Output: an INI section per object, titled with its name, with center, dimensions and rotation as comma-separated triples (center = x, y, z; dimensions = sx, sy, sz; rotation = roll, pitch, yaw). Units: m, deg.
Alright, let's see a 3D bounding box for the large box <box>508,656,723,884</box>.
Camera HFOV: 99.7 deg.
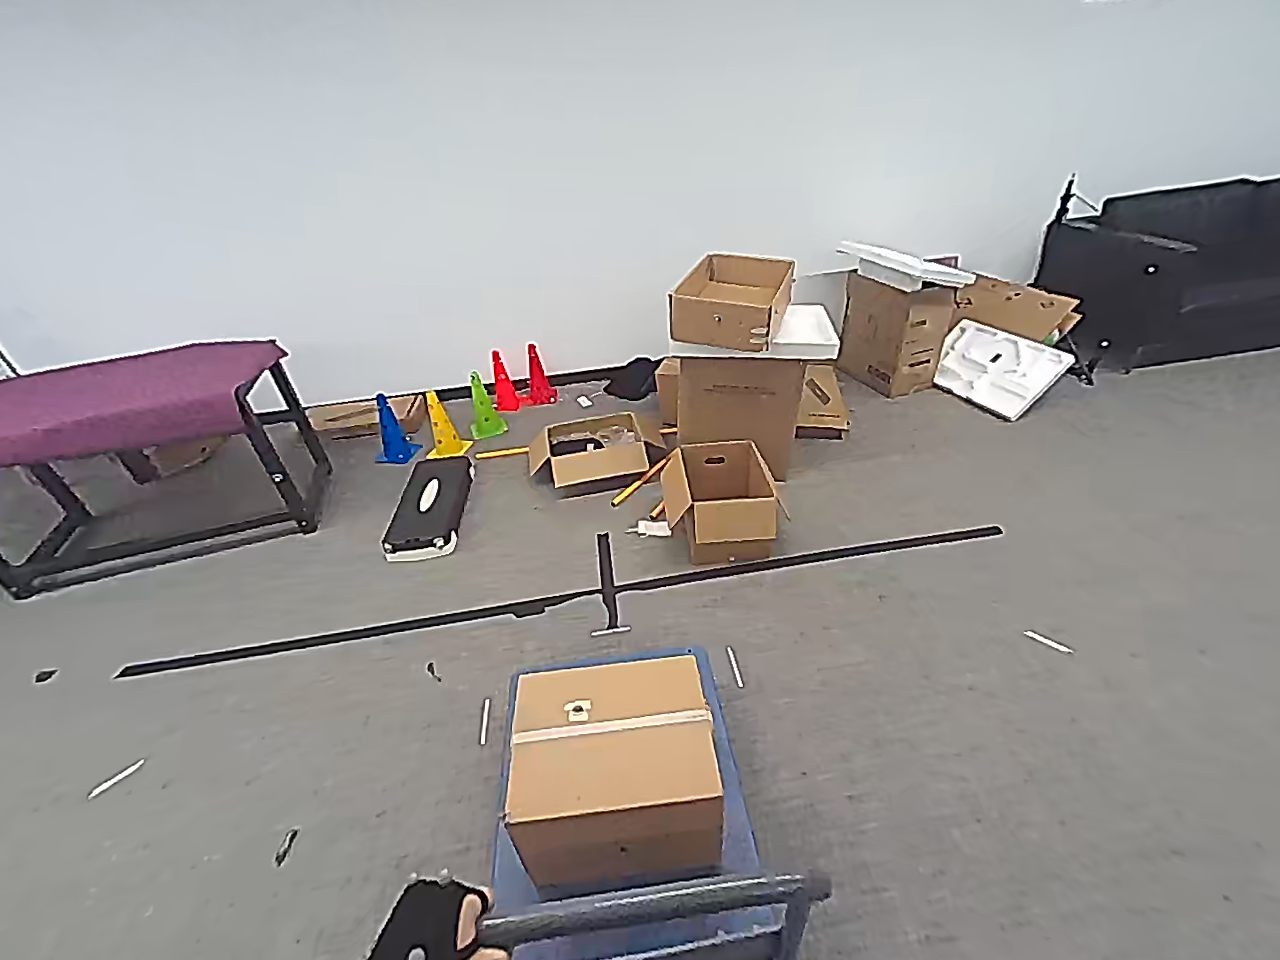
[large box]
center = -0.046, 0.639, 1.202
dimensions = 0.408, 0.320, 0.320
rotation = -7, 34, -1
